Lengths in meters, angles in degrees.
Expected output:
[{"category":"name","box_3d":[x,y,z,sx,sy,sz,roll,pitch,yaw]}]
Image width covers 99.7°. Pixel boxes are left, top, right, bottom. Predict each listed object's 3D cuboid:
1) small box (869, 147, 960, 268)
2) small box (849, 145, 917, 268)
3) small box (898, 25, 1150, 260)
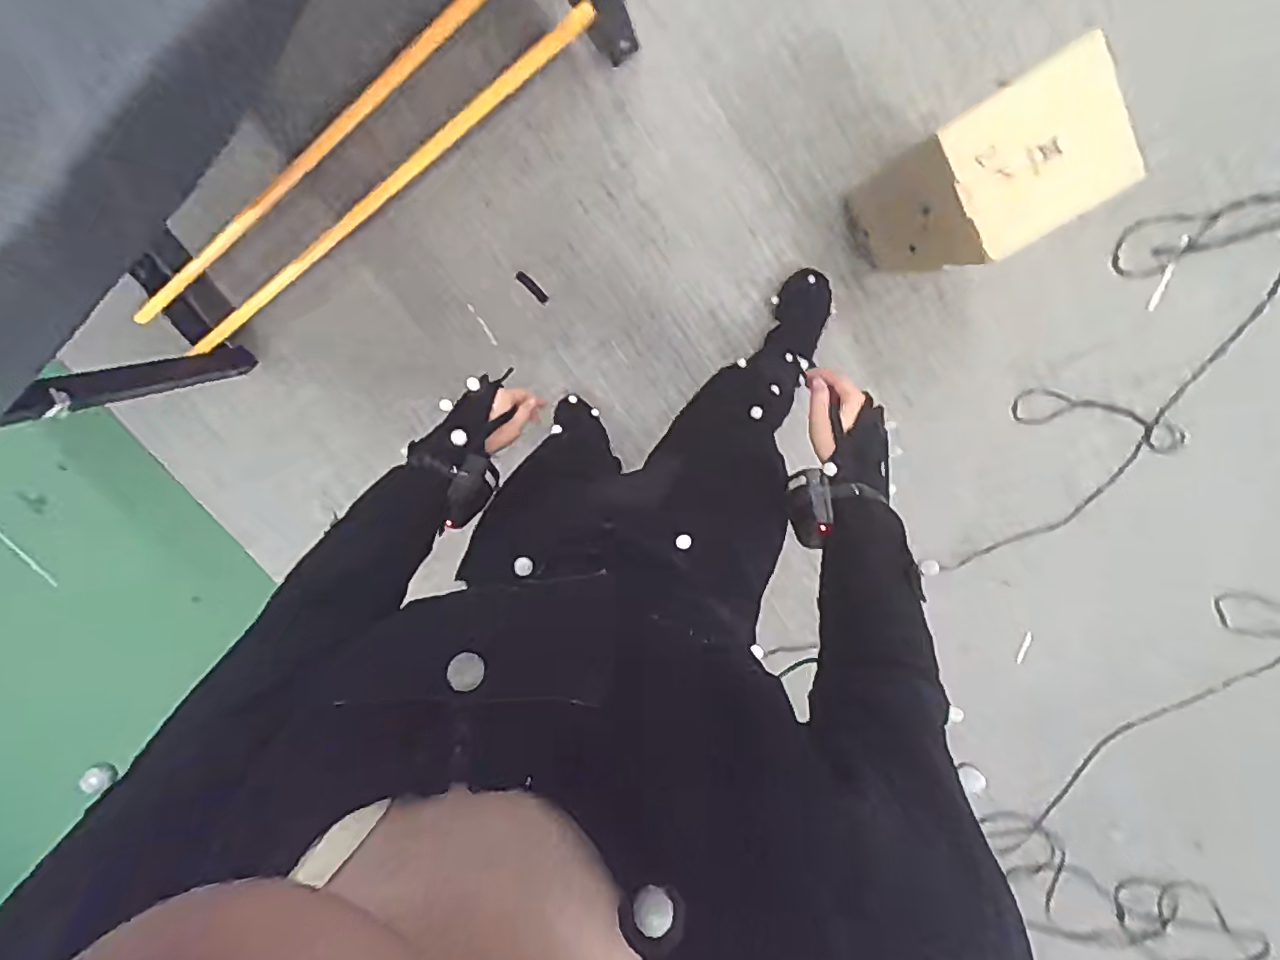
[{"category":"small box","box_3d":[0.483,-0.449,0.830,0.168,0.176,0.179,-30,104,16]},{"category":"small box","box_3d":[0.505,-0.508,0.979,0.168,0.176,0.179,-27,107,15]},{"category":"small box","box_3d":[0.460,-0.397,0.675,0.179,0.176,0.168,-29,105,16]}]
